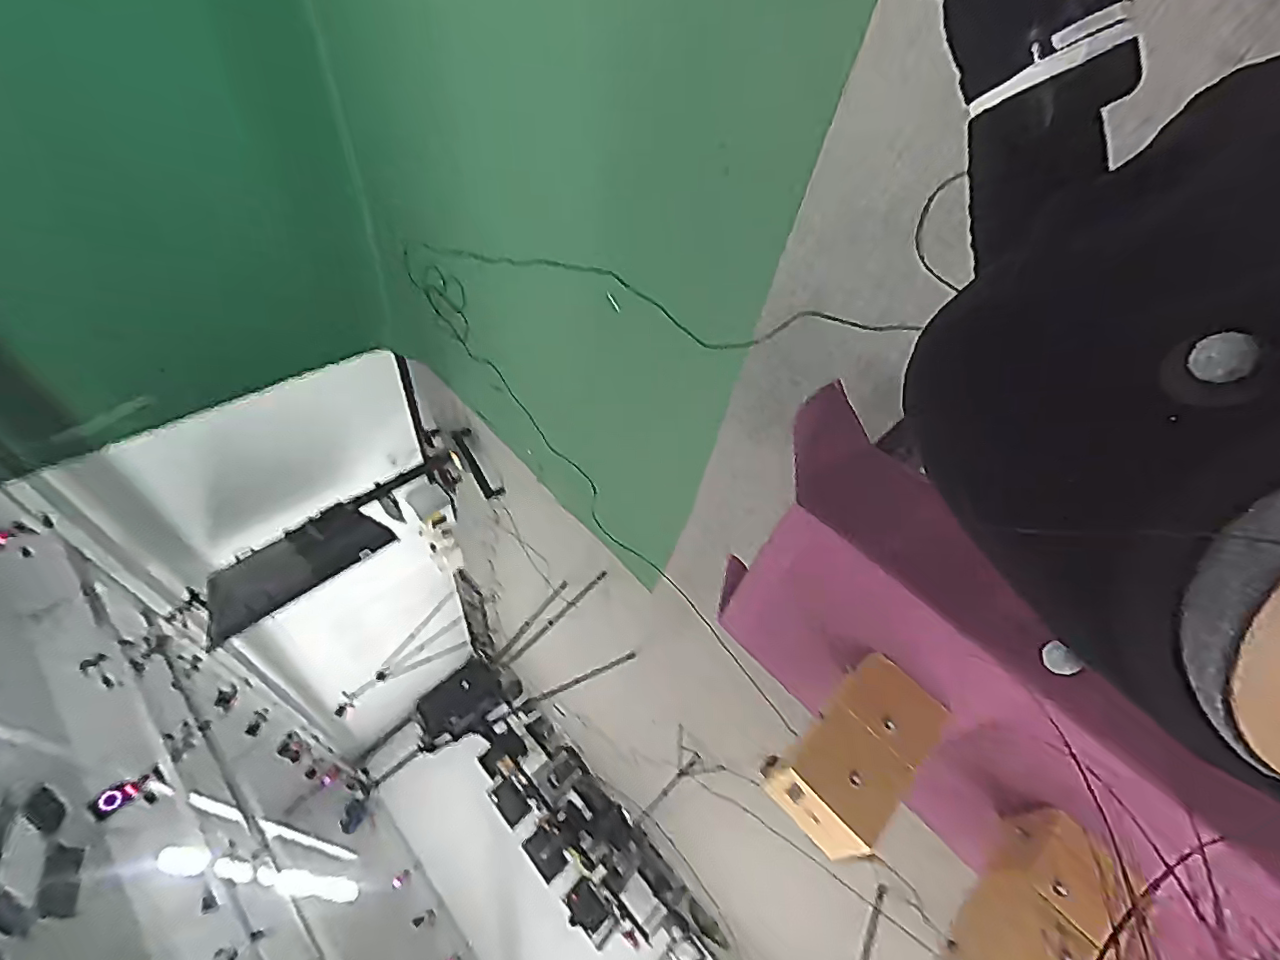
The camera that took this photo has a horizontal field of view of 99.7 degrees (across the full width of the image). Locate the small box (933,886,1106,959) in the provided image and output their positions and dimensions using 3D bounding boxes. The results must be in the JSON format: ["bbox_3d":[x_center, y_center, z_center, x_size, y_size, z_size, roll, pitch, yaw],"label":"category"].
[{"bbox_3d":[0.635,0.818,0.898,0.168,0.176,0.179,41,146,23],"label":"small box"}]

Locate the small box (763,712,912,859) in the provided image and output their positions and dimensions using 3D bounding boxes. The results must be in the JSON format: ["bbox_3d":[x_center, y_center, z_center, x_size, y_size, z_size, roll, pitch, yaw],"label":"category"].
[{"bbox_3d":[0.373,0.573,1.033,0.179,0.176,0.168,41,145,22],"label":"small box"}]

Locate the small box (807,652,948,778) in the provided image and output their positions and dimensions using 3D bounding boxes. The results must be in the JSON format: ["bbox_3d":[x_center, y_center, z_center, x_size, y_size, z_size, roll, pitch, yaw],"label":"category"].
[{"bbox_3d":[0.490,0.495,1.118,0.179,0.176,0.168,43,146,22],"label":"small box"}]

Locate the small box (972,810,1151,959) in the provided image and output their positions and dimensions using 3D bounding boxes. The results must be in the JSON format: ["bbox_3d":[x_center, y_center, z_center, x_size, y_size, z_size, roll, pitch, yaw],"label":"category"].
[{"bbox_3d":[0.759,0.742,0.977,0.179,0.176,0.168,42,146,24],"label":"small box"}]
